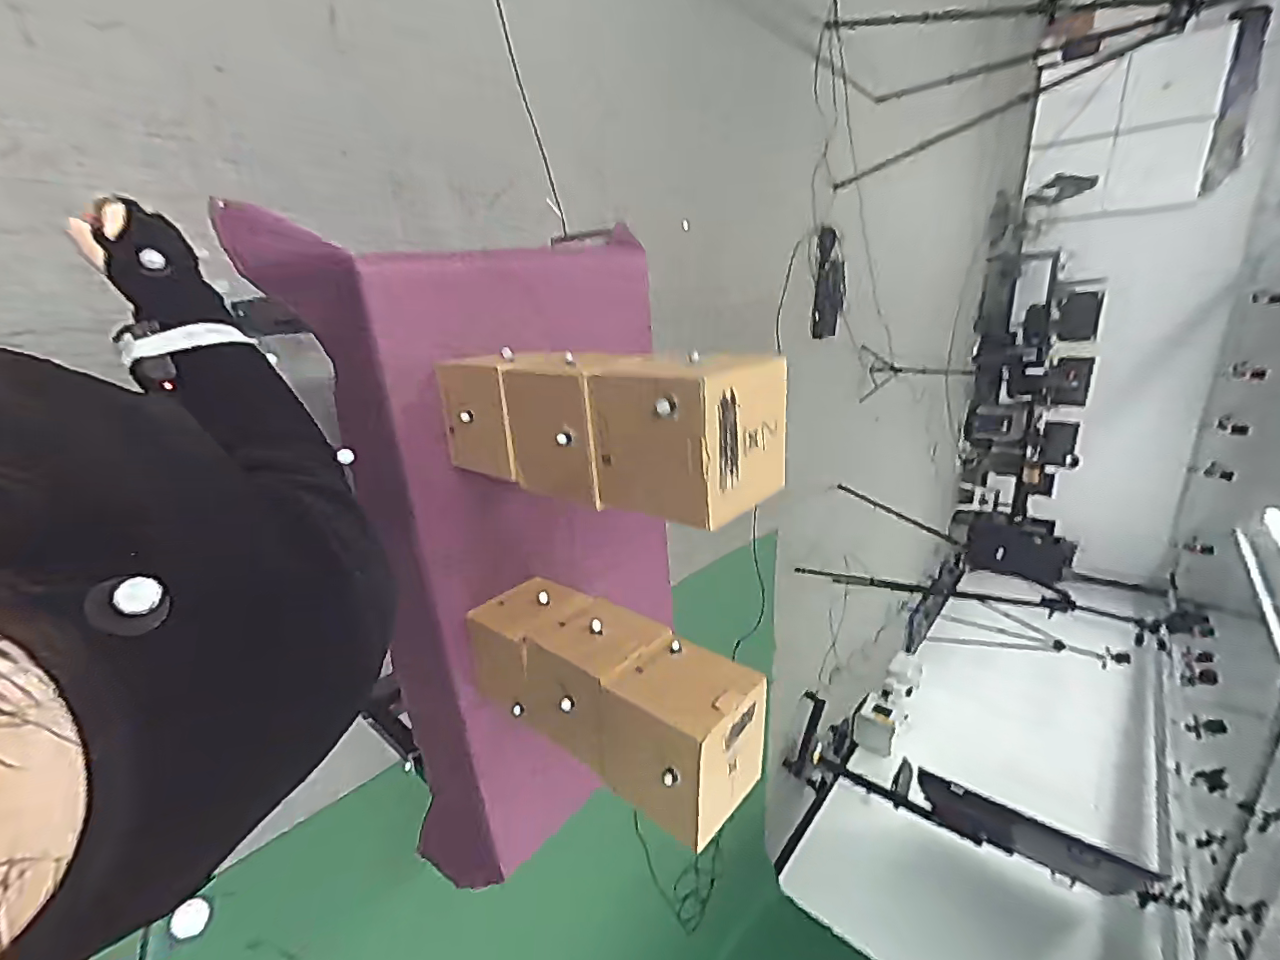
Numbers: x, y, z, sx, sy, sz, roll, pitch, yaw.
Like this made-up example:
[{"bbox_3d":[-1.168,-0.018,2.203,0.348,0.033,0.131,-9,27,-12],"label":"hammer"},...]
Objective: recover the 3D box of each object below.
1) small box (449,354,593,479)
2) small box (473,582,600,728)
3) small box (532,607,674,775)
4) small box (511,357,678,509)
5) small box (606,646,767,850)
[{"bbox_3d":[-0.187,-0.110,0.864,0.179,0.176,0.168,-21,116,-45],"label":"small box"},{"bbox_3d":[-0.183,0.301,0.982,0.168,0.176,0.179,-23,117,-44],"label":"small box"},{"bbox_3d":[-0.059,0.322,0.875,0.168,0.176,0.179,-18,113,-46],"label":"small box"},{"bbox_3d":[-0.064,-0.077,0.762,0.168,0.176,0.179,-22,117,-43],"label":"small box"},{"bbox_3d":[0.064,0.359,0.771,0.168,0.176,0.179,-18,115,-46],"label":"small box"}]
